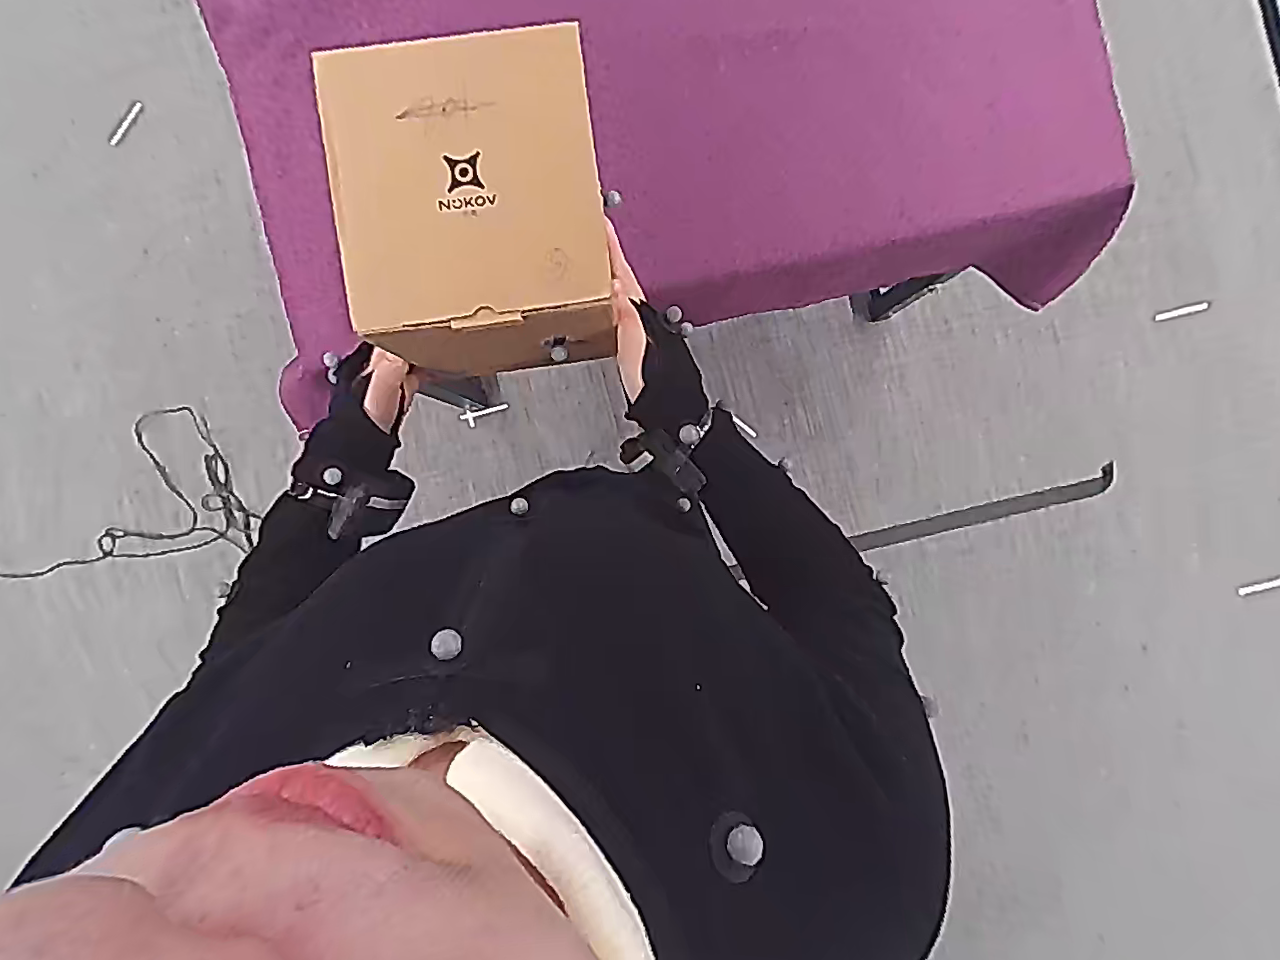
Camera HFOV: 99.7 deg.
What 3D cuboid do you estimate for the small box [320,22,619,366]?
[{"bbox_3d":[-0.107,-0.189,0.414,0.168,0.176,0.179,-7,92,-2],"label":"small box"}]
